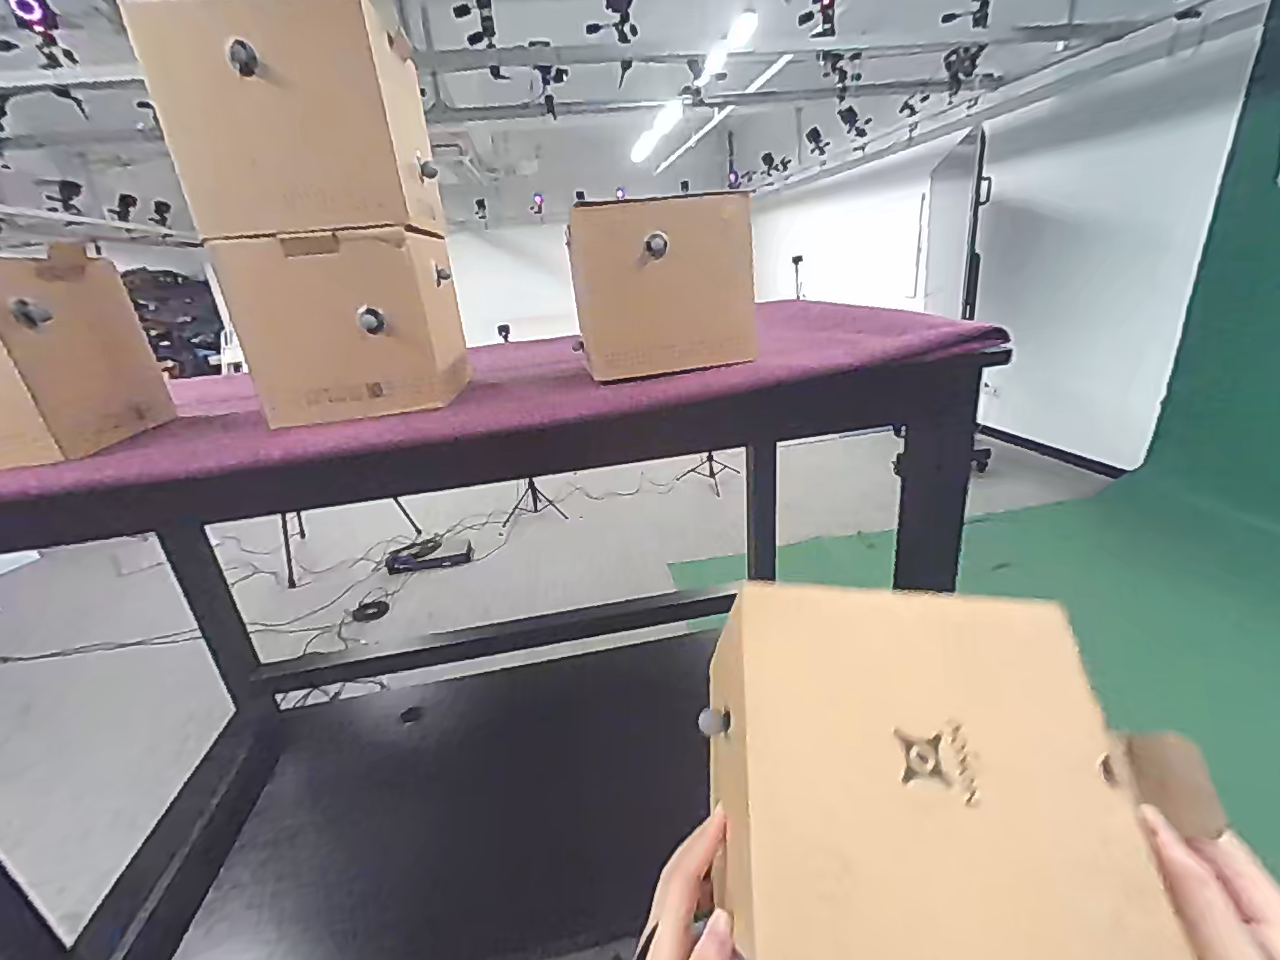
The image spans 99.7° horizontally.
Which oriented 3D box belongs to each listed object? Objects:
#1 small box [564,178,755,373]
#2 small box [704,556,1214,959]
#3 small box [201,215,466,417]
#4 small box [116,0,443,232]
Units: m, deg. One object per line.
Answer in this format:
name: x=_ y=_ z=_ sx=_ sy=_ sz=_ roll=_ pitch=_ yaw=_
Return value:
small box: x=0.017 y=-0.218 z=0.605 sx=0.179 sy=0.176 sz=0.168 roll=-9 pitch=19 yaw=-8
small box: x=0.130 y=0.157 z=0.309 sx=0.179 sy=0.176 sz=0.168 roll=4 pitch=57 yaw=2
small box: x=-0.287 y=-0.165 z=0.558 sx=0.168 sy=0.176 sz=0.179 roll=-7 pitch=20 yaw=-6
small box: x=-0.302 y=-0.319 z=0.500 sx=0.179 sy=0.176 sz=0.168 roll=-7 pitch=22 yaw=-6
